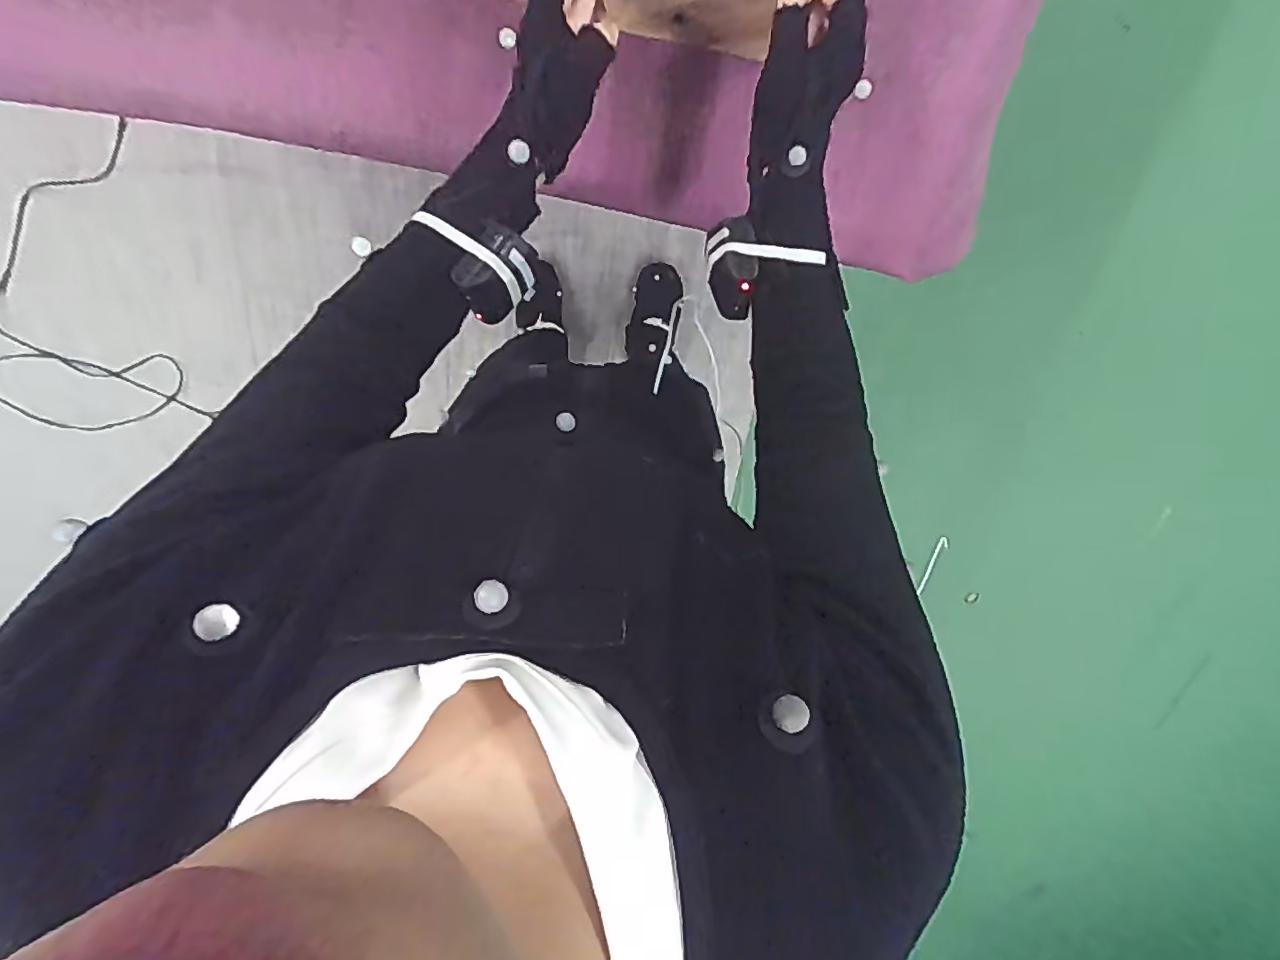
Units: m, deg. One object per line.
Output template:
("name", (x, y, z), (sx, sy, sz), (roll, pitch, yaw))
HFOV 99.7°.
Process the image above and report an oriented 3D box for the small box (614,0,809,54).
("small box", (0.063, -0.476, 0.423), (0.168, 0.176, 0.179), (10, 116, -3))
